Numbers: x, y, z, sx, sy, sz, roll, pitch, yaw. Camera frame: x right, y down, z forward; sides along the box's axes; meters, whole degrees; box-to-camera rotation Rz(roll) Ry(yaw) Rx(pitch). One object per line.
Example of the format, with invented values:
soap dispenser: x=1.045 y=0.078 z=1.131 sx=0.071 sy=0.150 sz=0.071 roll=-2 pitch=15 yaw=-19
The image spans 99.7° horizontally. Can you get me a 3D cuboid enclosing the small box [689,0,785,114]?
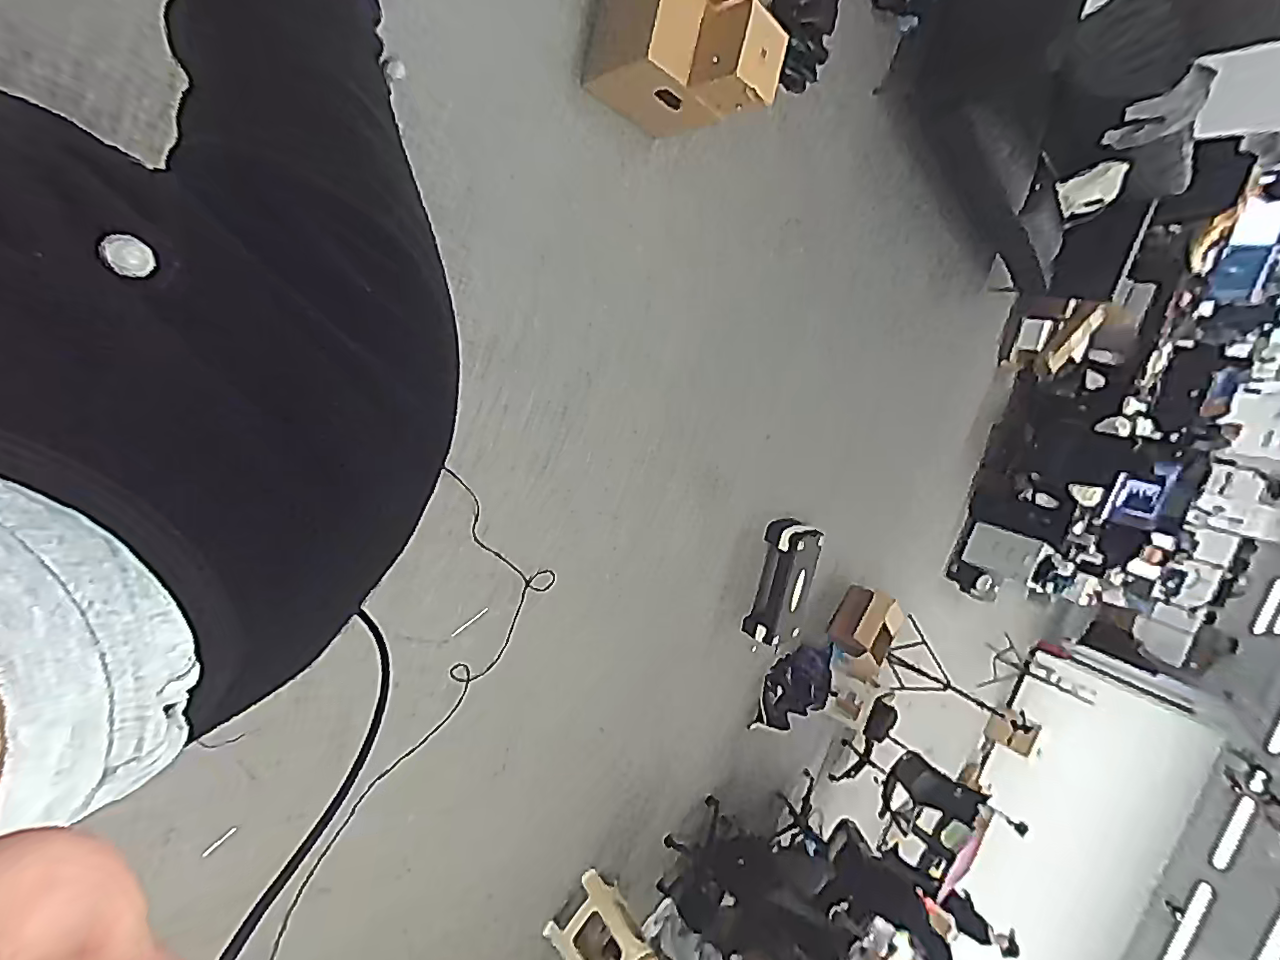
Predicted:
small box: x=0.250 y=-1.107 z=1.429 sx=0.168 sy=0.176 sz=0.179 roll=0 pitch=105 yaw=-45
